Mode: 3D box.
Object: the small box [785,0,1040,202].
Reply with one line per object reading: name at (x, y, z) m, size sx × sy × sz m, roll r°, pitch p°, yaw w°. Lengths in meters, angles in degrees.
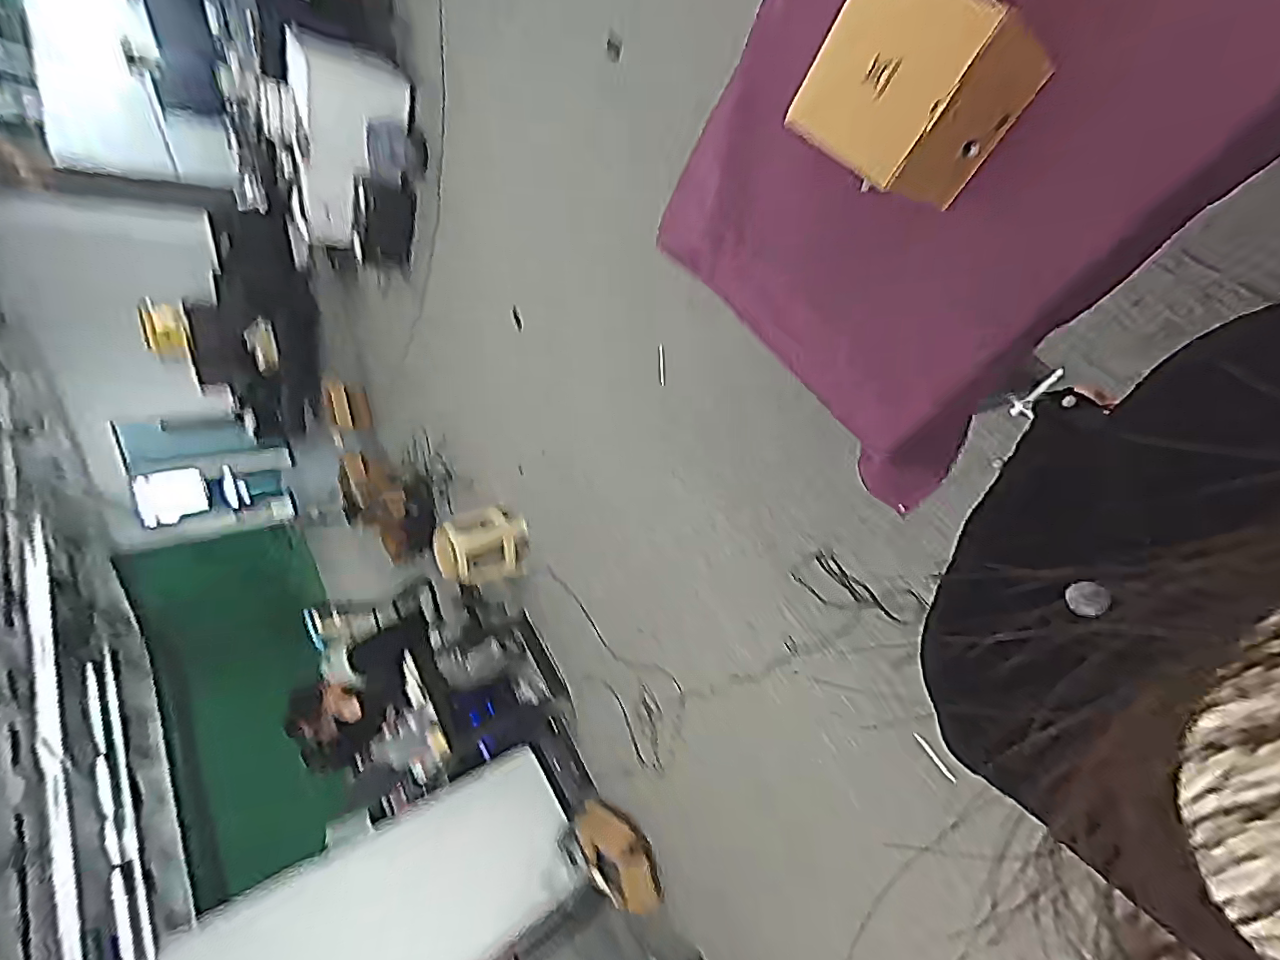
small box at (0.315, -0.452, 0.635) m, size 0.179 × 0.176 × 0.168 m, roll 53°, pitch 134°, yaw 24°
